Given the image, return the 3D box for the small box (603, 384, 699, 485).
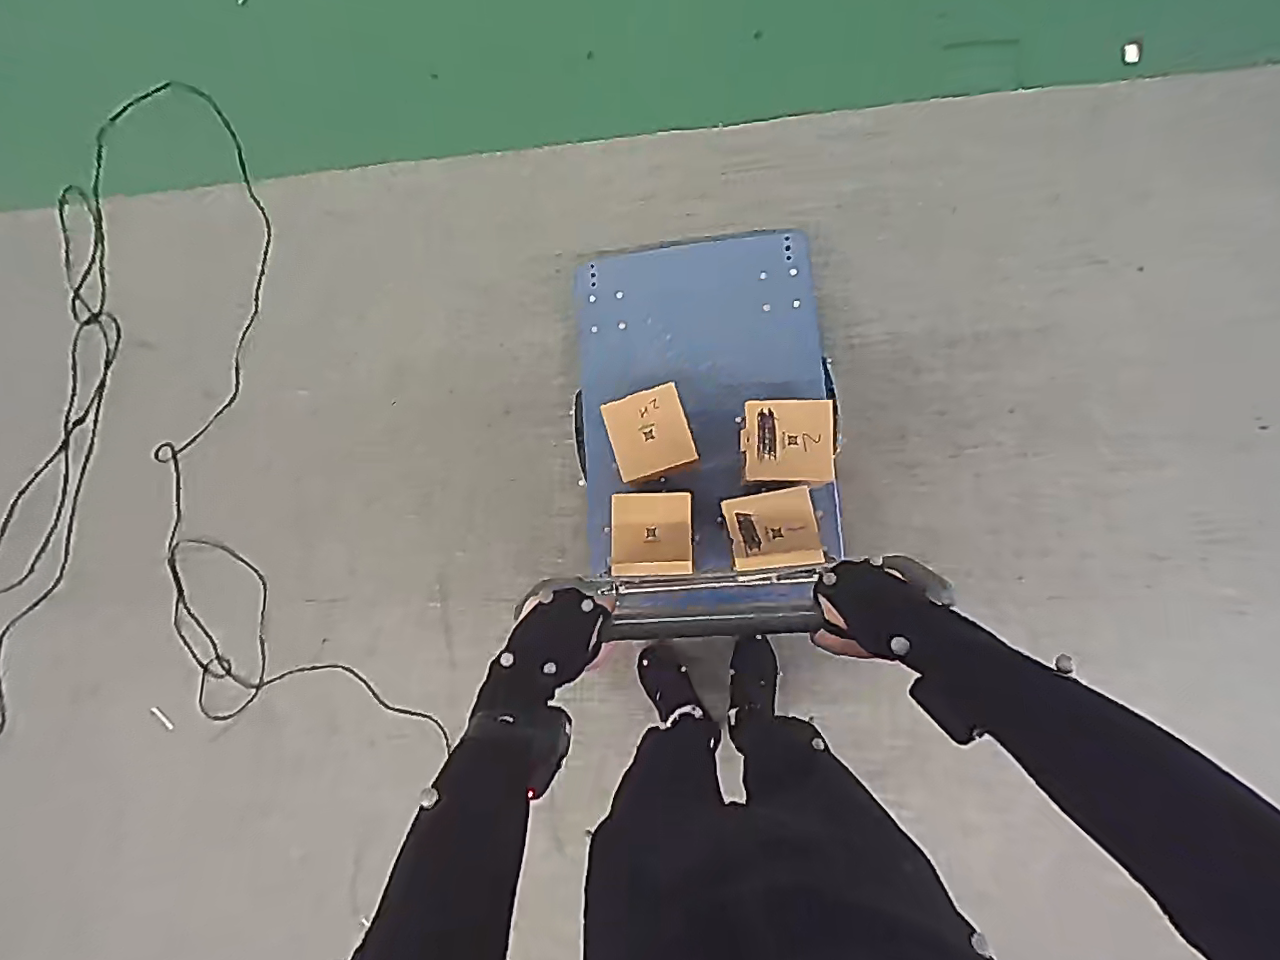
[{"bbox_3d":[0.031,-0.091,1.205,0.168,0.176,0.179,-17,82,5],"label":"small box"}]
